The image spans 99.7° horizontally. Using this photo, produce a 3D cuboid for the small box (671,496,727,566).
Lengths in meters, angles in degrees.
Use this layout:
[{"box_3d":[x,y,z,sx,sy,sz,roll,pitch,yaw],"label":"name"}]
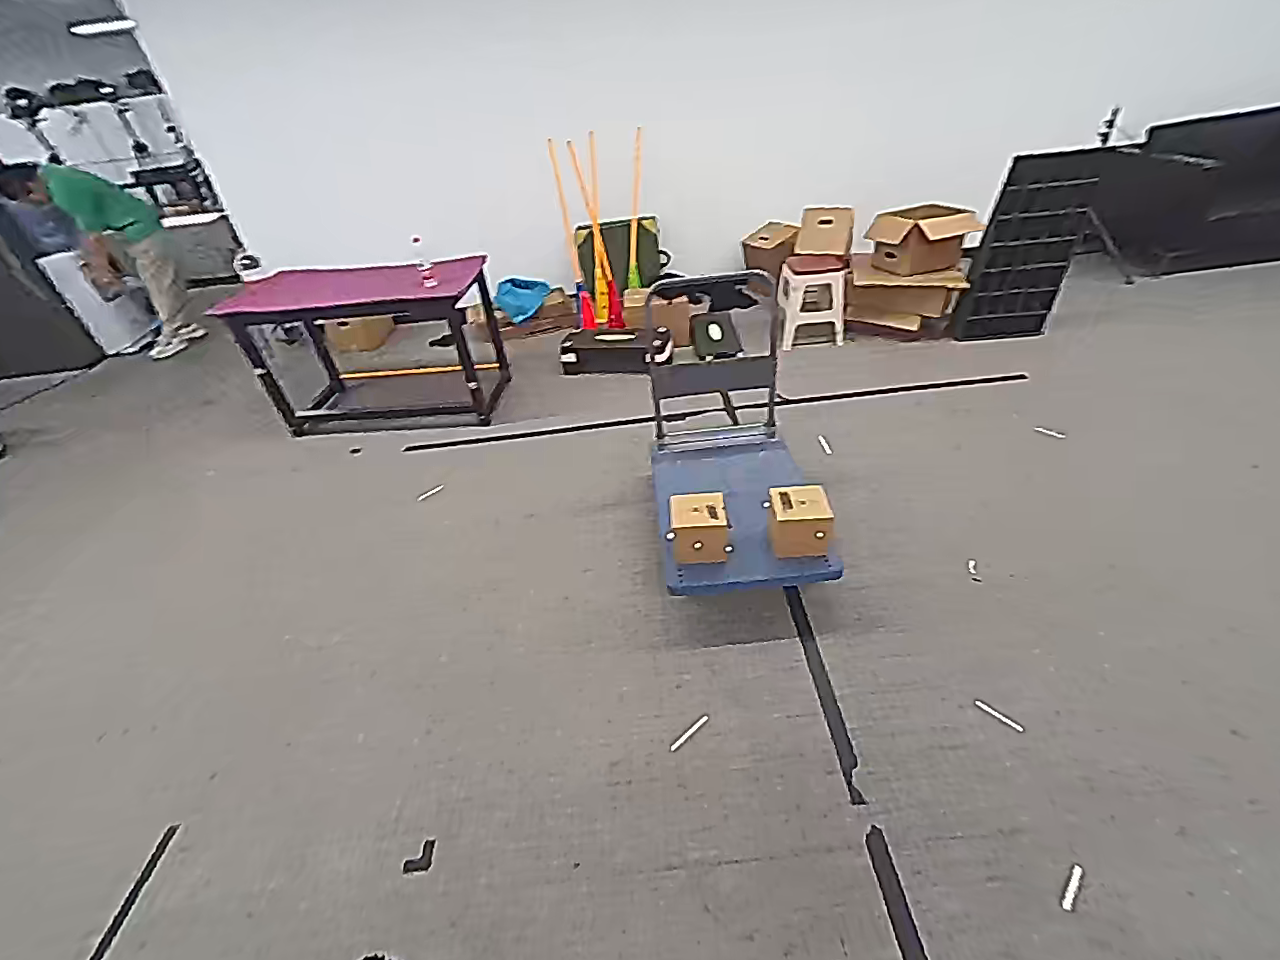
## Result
[{"box_3d":[0.195,0.173,1.811,0.179,0.176,0.168,-4,37,5],"label":"small box"}]
